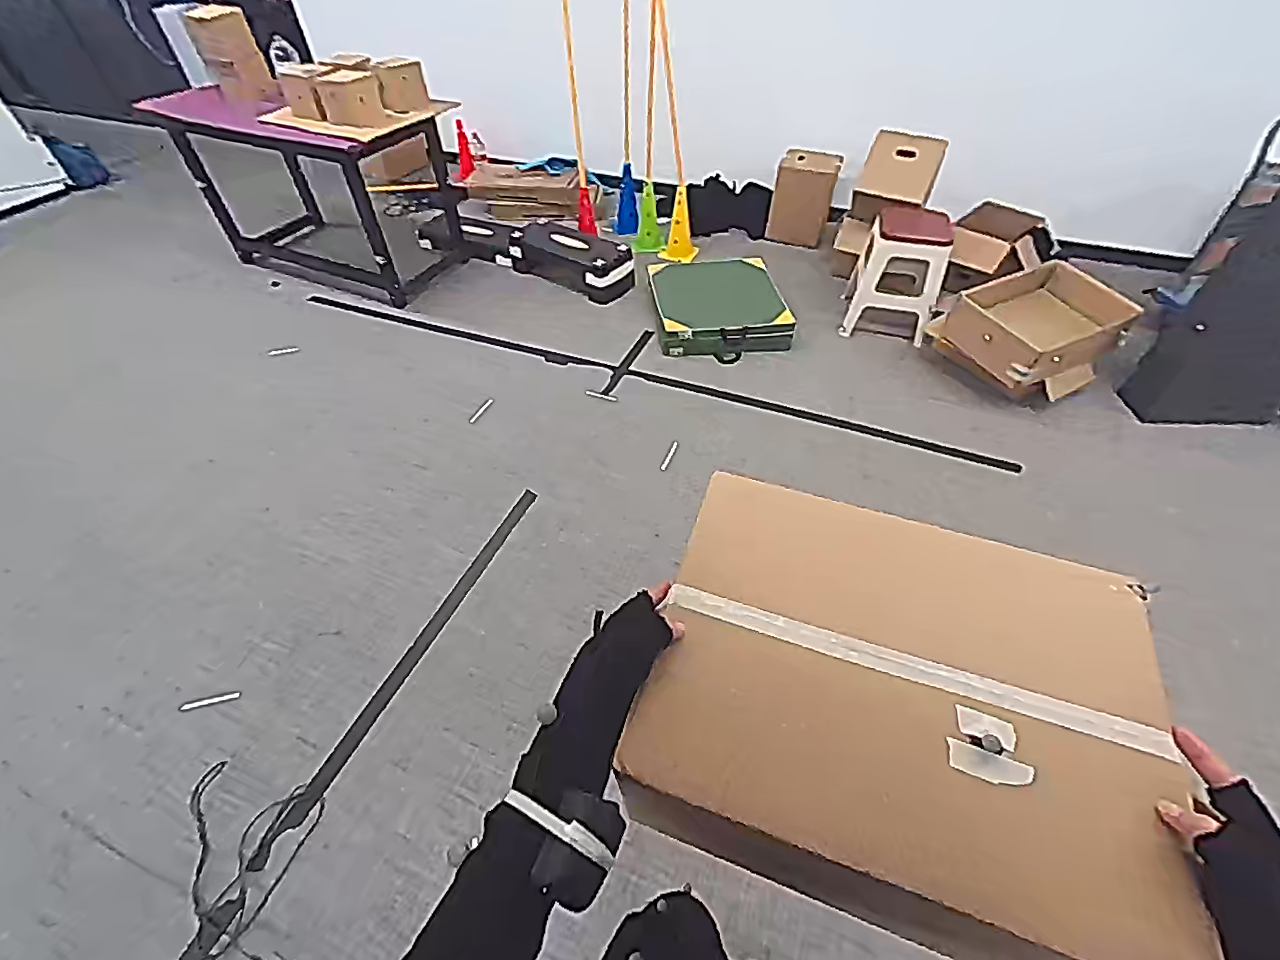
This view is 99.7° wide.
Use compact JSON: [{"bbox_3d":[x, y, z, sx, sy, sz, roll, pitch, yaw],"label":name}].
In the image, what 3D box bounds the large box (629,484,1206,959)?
[{"bbox_3d":[0.227,0.254,0.588,0.408,0.320,0.320,15,55,13],"label":"large box"}]
